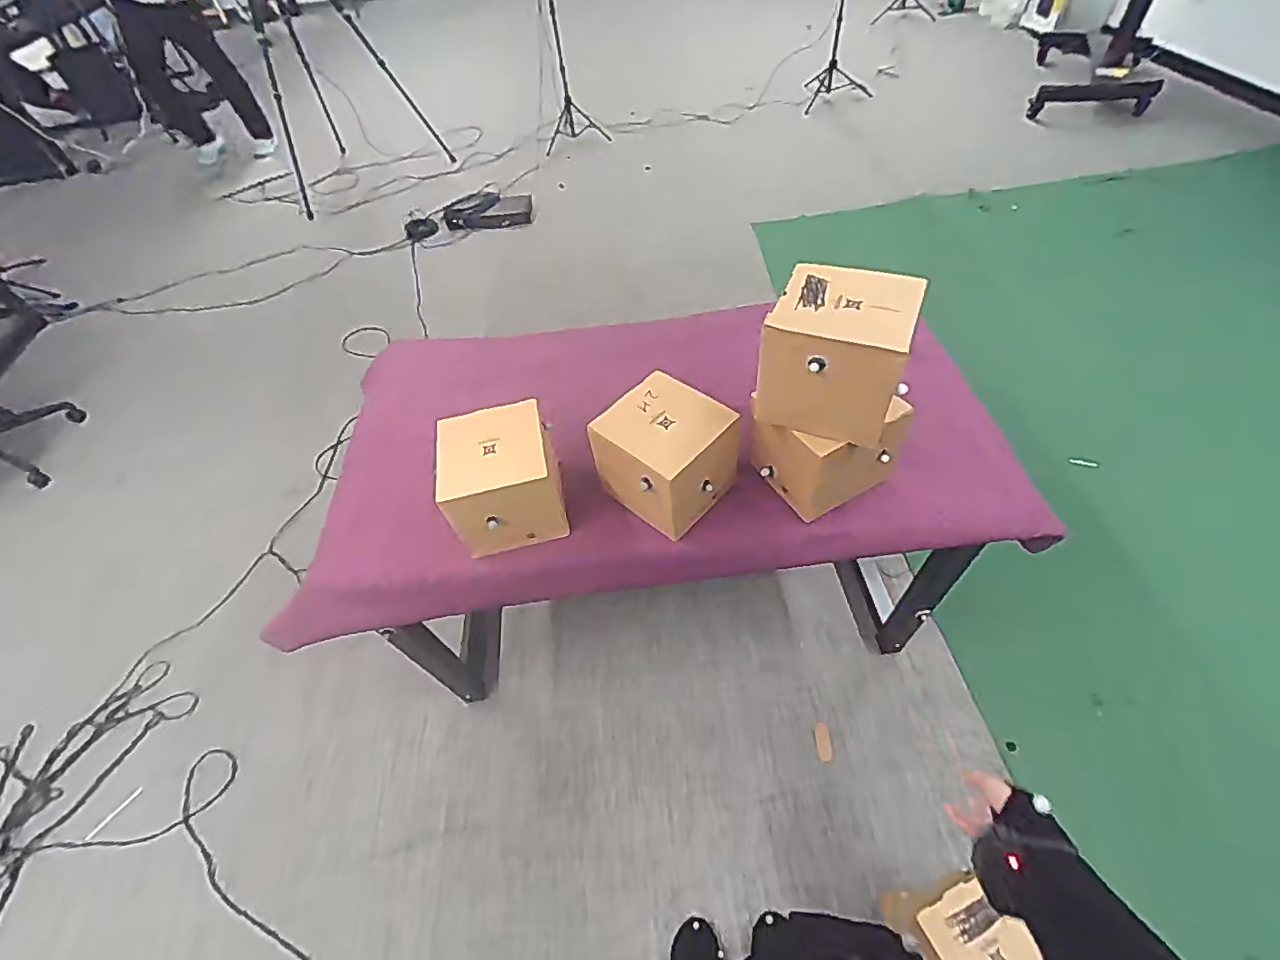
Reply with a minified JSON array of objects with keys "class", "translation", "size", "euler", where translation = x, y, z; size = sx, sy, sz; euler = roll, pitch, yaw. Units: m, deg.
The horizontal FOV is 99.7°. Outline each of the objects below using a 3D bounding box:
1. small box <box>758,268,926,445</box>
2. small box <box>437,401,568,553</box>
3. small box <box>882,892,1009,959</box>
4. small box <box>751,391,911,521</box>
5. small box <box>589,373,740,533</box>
[{"class":"small box","translation":[0.276,-0.173,0.765],"size":[0.179,0.176,0.168],"euler":[18,54,20]},{"class":"small box","translation":[-0.222,0.003,0.893],"size":[0.168,0.176,0.179],"euler":[-14,51,-4]},{"class":"small box","translation":[0.578,0.900,1.033],"size":[0.179,0.176,0.168],"euler":[0,53,7]},{"class":"small box","translation":[0.297,-0.065,0.886],"size":[0.179,0.176,0.168],"euler":[-26,52,-13]},{"class":"small box","translation":[0.043,-0.037,0.891],"size":[0.179,0.176,0.168],"euler":[35,63,29]}]
